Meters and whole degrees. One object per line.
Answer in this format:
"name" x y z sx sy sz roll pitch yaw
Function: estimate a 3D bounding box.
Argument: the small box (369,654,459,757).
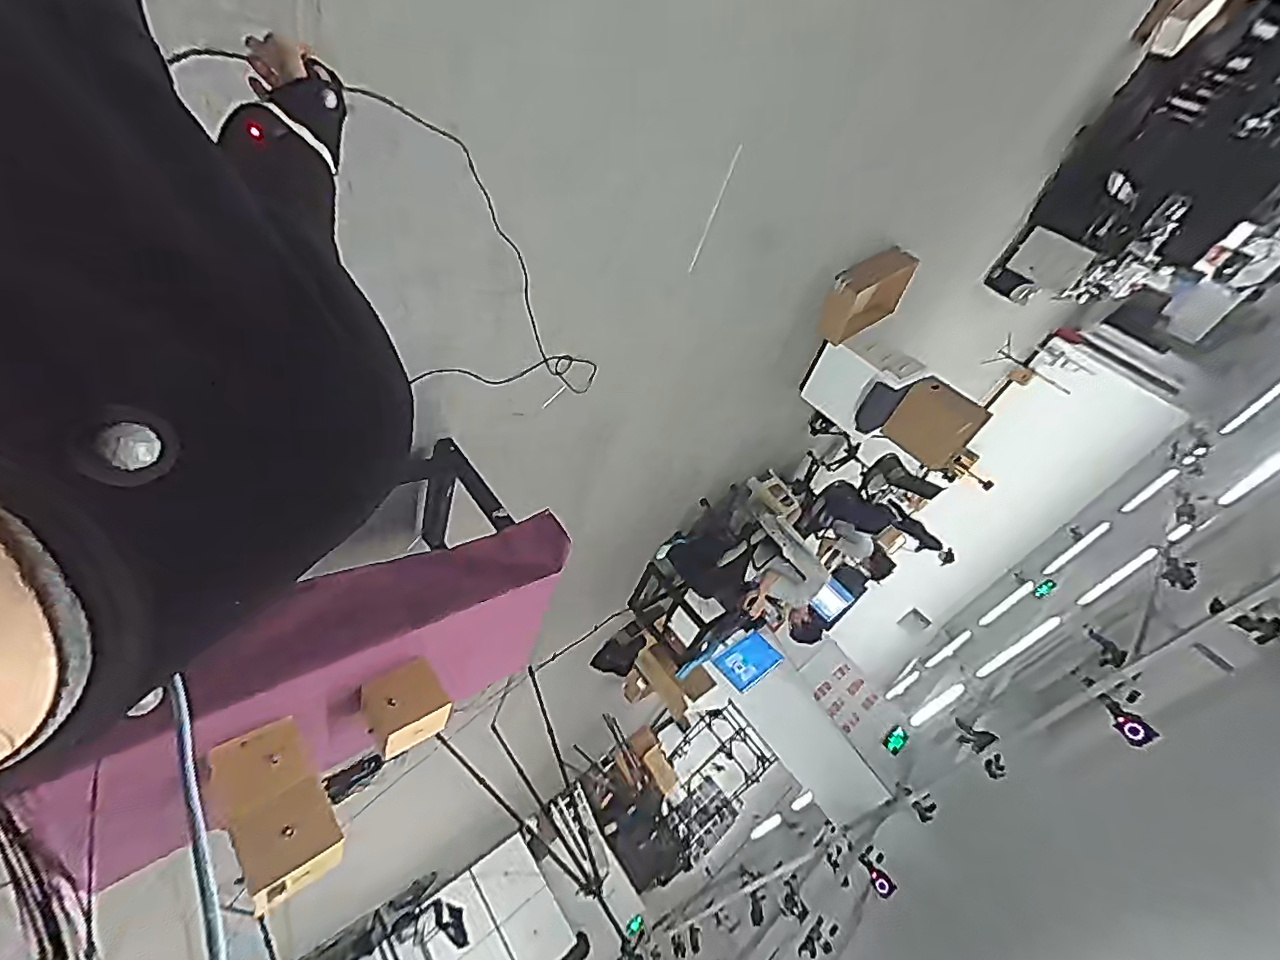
"small box" -0.636 0.623 1.511 0.179 0.176 0.168 -18 145 -43

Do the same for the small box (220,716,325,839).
"small box" -0.871 0.695 1.283 0.168 0.176 0.179 -17 144 -44
